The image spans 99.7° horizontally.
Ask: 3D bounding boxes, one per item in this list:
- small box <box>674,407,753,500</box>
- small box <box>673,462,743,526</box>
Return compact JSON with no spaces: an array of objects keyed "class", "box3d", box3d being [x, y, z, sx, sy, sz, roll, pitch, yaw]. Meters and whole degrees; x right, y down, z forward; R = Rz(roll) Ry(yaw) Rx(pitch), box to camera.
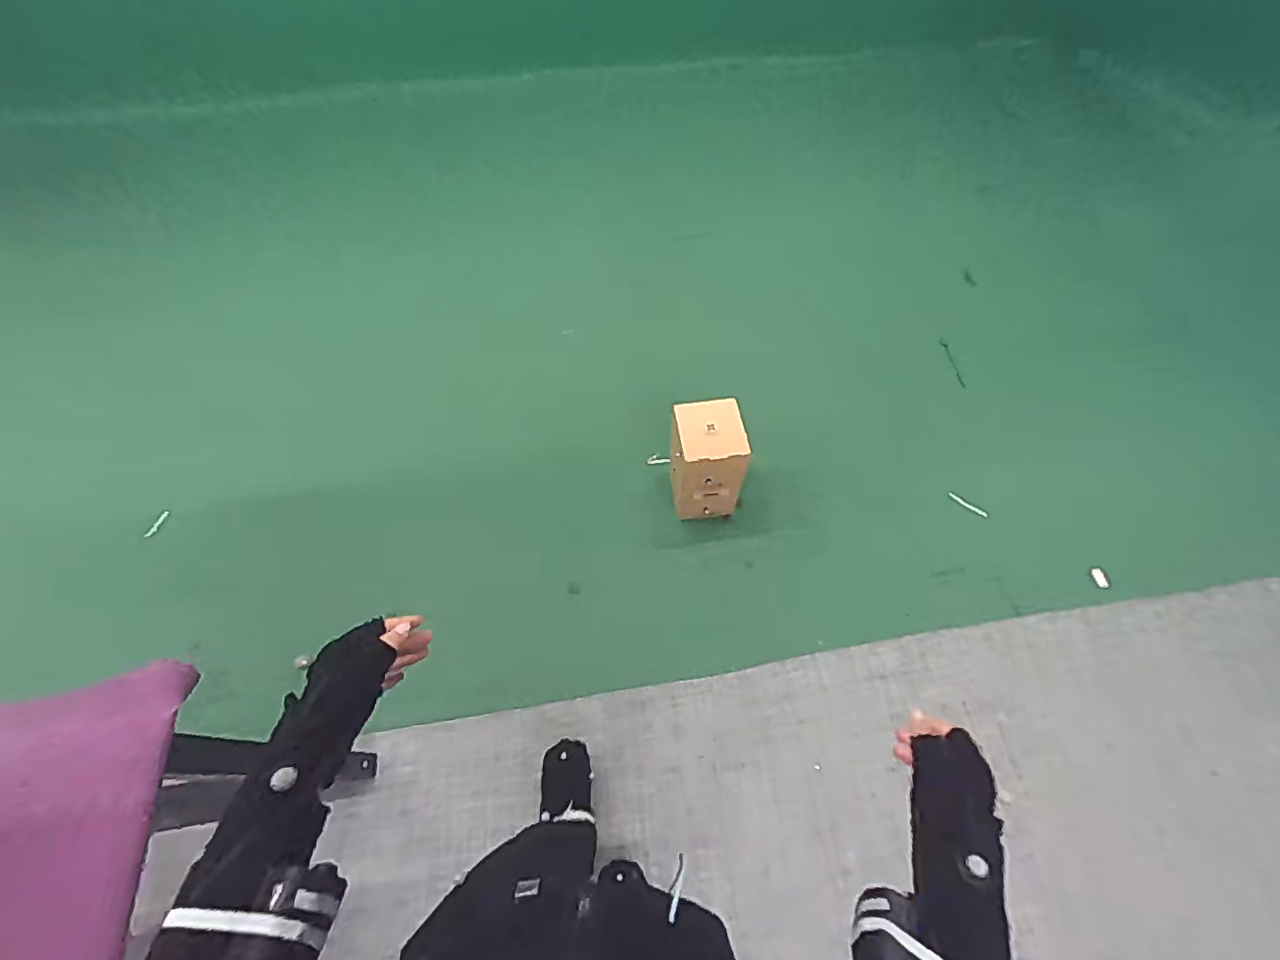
[{"class":"small box","box3d":[0.185,-0.068,1.426,0.168,0.176,0.179,-8,60,-4]},{"class":"small box","box3d":[0.189,0.015,1.567,0.168,0.176,0.179,-7,60,-3]}]
